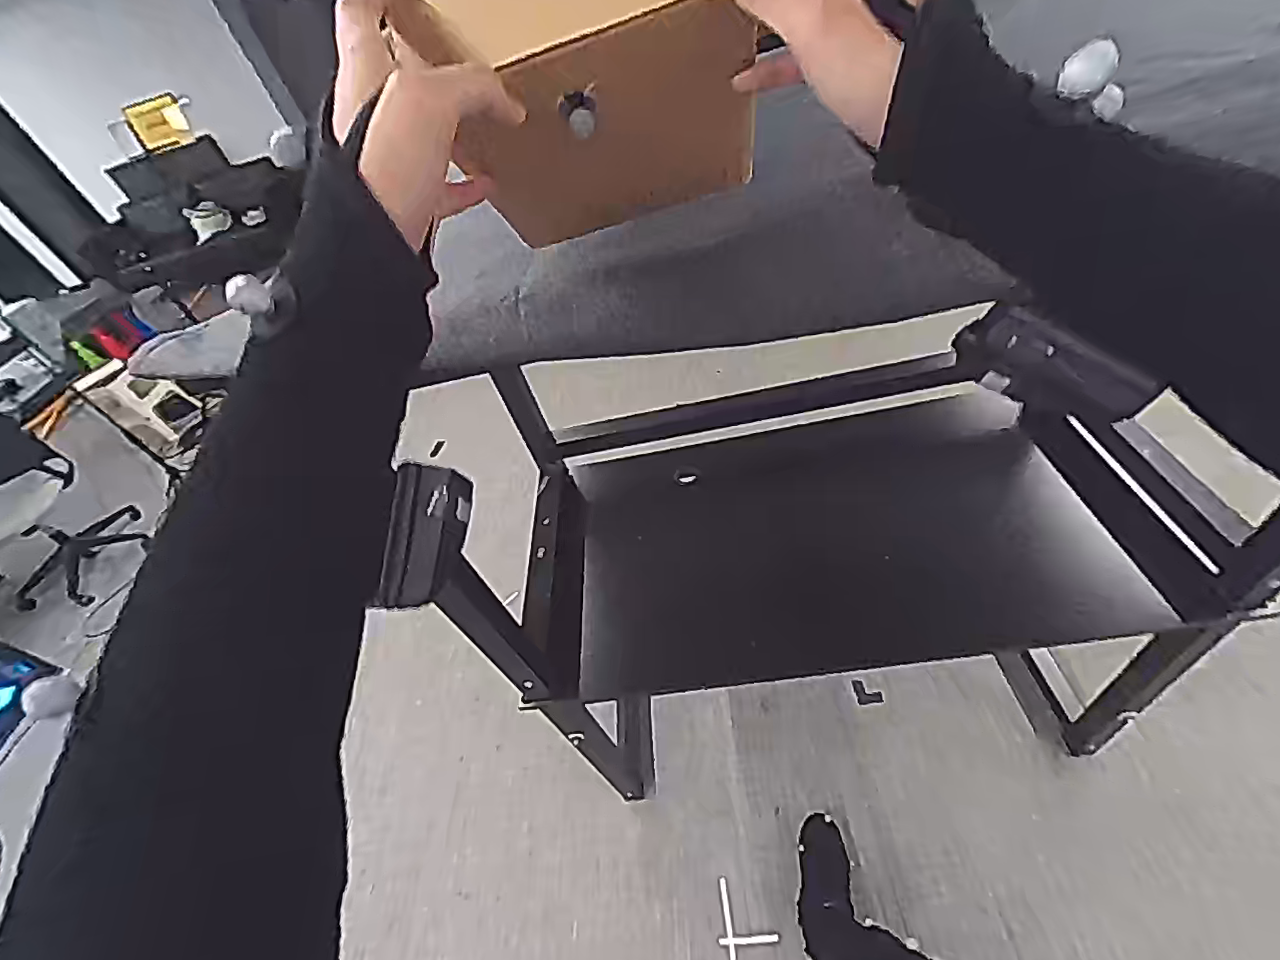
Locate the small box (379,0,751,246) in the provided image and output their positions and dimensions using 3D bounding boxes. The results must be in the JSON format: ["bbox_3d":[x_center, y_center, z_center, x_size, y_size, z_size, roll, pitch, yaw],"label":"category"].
[{"bbox_3d":[-0.036,-0.275,0.332,0.179,0.176,0.168,-13,87,11],"label":"small box"}]
